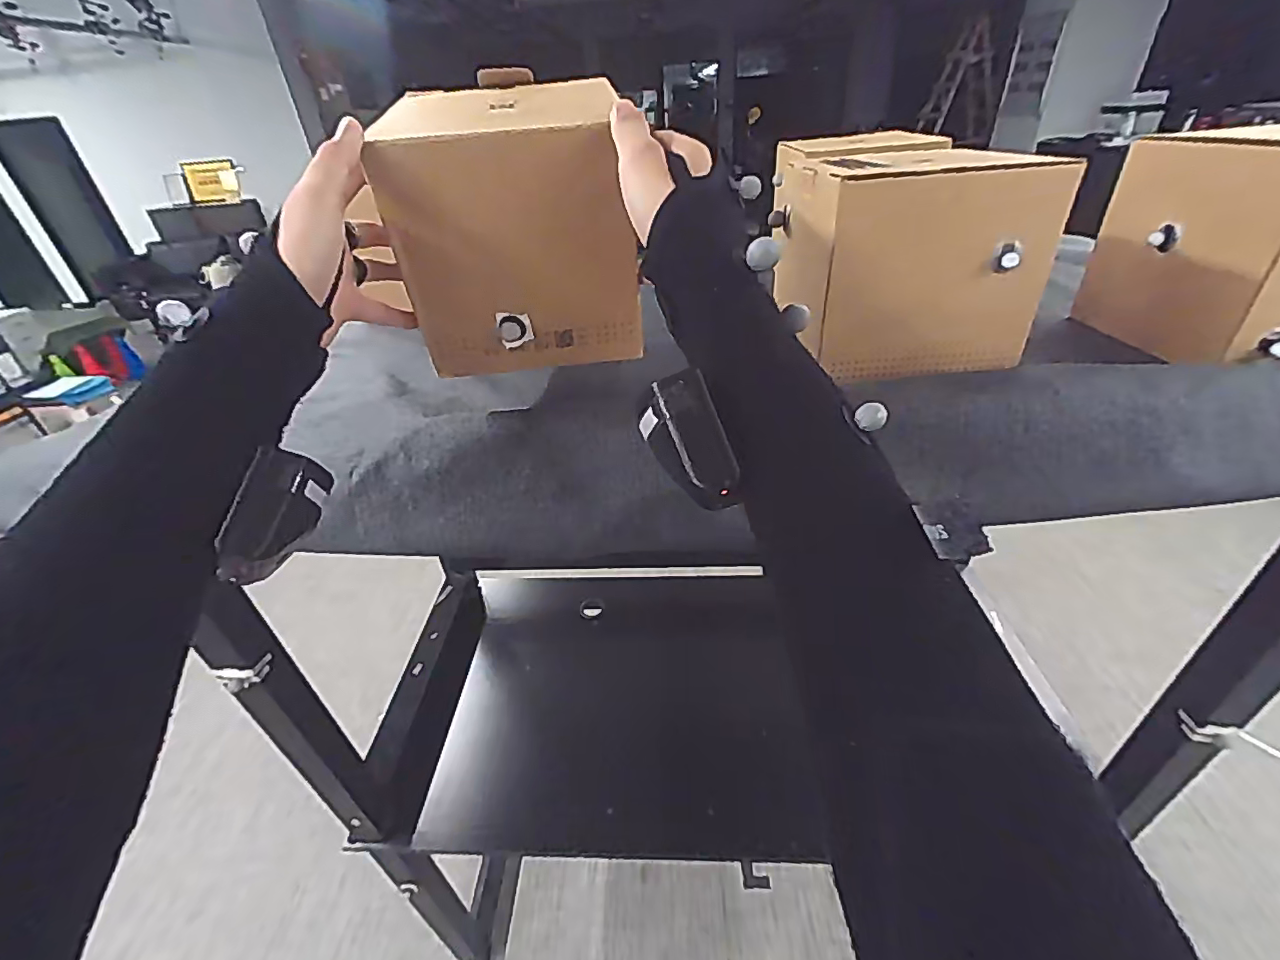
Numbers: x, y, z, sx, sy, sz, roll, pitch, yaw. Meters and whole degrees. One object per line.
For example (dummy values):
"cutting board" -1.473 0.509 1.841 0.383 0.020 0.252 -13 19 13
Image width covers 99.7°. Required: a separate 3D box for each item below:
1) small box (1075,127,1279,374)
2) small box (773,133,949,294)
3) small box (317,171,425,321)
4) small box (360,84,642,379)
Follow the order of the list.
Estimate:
"small box" 0.533 -0.196 0.461 0.168 0.176 0.179 -4 33 2
"small box" 0.278 -0.355 0.727 0.168 0.176 0.179 -3 35 3
"small box" -0.298 -0.330 0.754 0.179 0.176 0.168 -2 35 2
"small box" -0.091 -0.201 0.436 0.168 0.176 0.179 -7 43 -3
